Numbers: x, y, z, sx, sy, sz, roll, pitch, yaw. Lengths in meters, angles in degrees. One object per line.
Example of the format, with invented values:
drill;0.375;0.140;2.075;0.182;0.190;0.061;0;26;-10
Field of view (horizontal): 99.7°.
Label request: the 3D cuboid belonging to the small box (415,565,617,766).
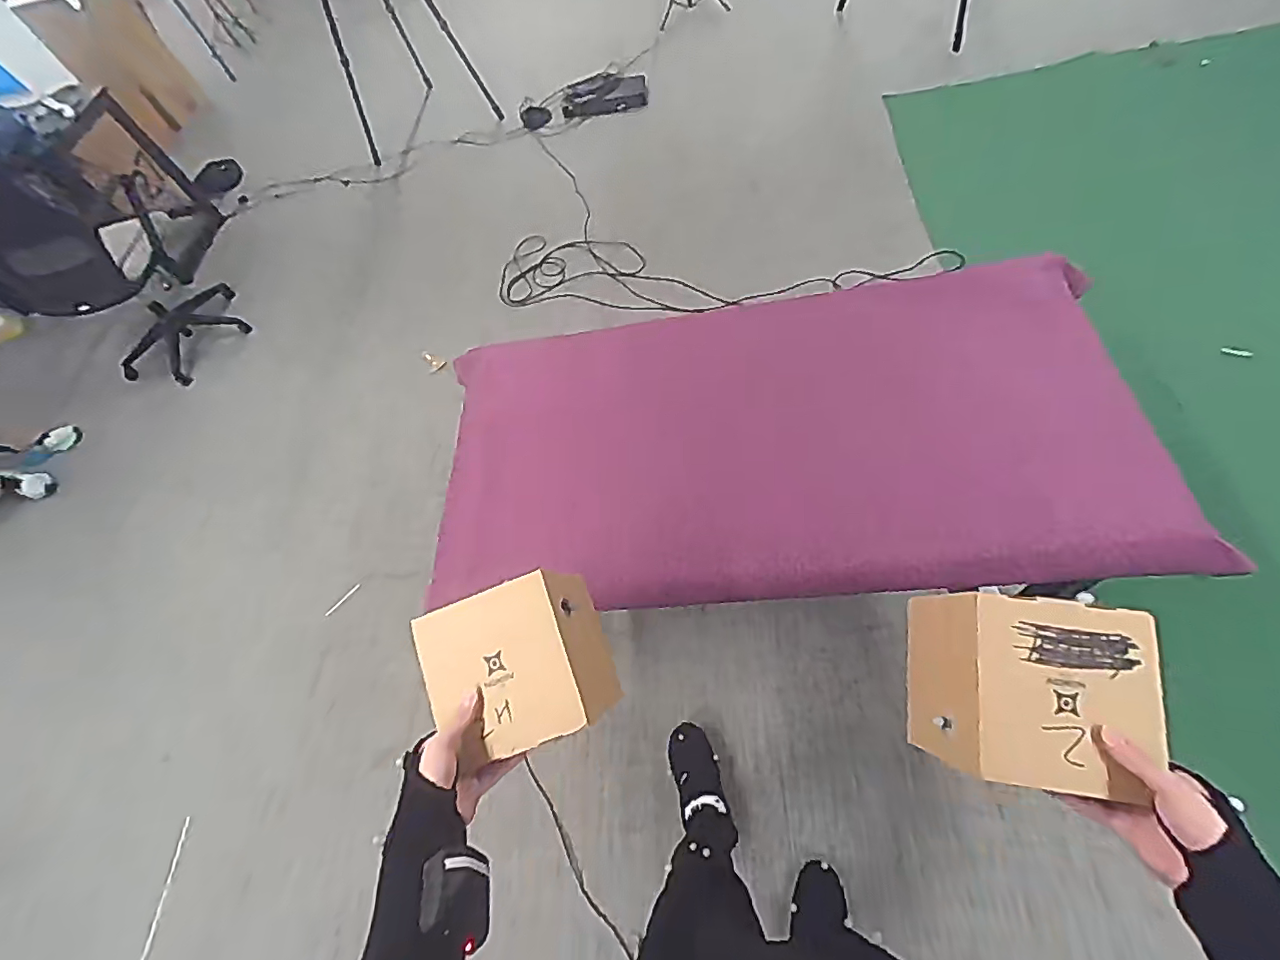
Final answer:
small box;-0.144;0.219;0.669;0.168;0.176;0.179;-22;75;6
